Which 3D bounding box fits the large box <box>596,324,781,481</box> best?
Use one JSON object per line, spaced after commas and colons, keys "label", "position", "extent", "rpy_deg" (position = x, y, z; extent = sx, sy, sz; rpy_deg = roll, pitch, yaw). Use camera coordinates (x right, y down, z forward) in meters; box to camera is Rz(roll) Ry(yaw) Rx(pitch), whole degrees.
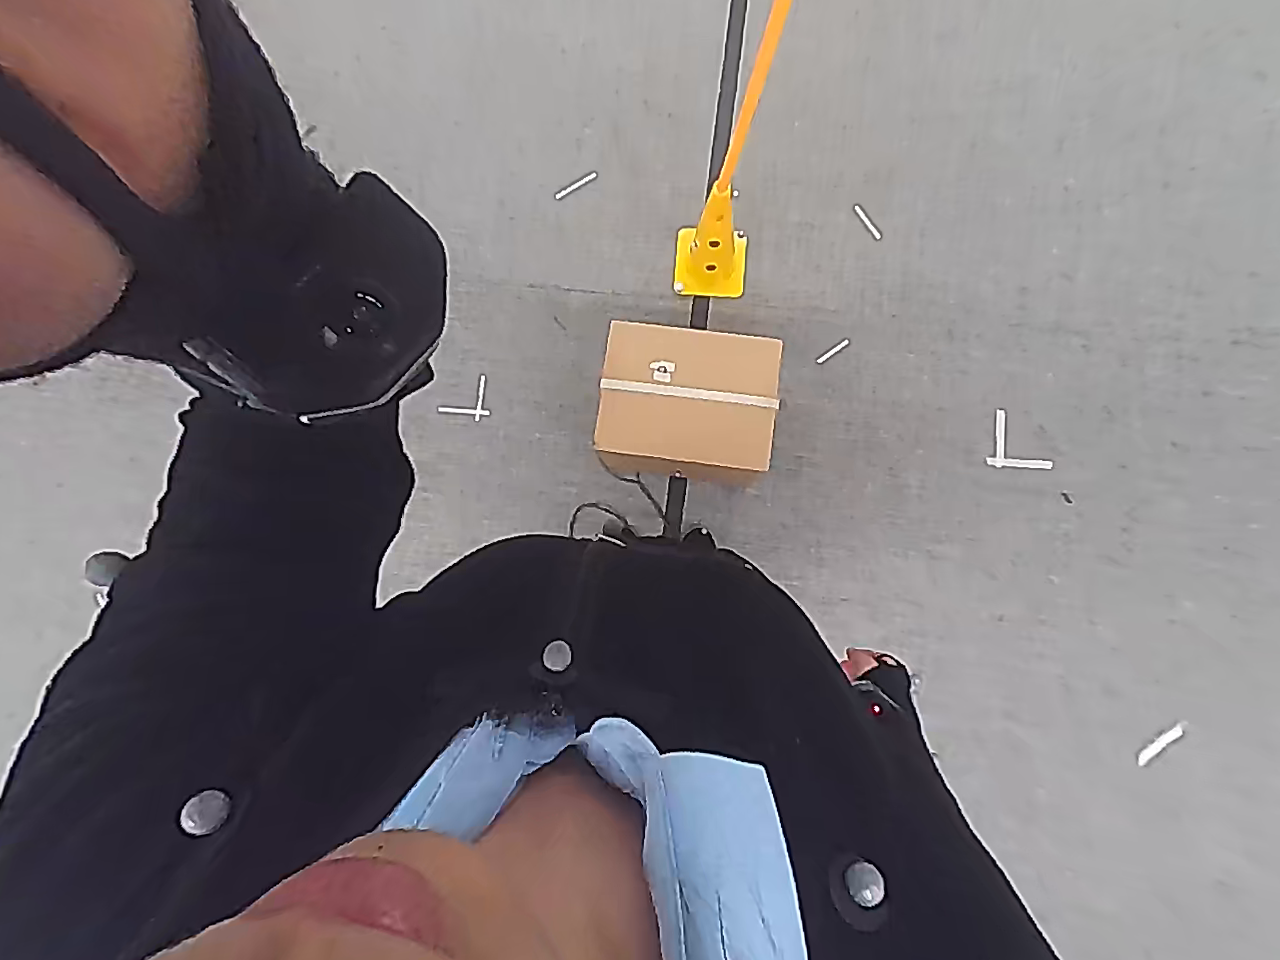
{"label": "large box", "position": [0.125, -0.181, 1.394], "extent": [0.408, 0.320, 0.320], "rpy_deg": [7, 83, 5]}
